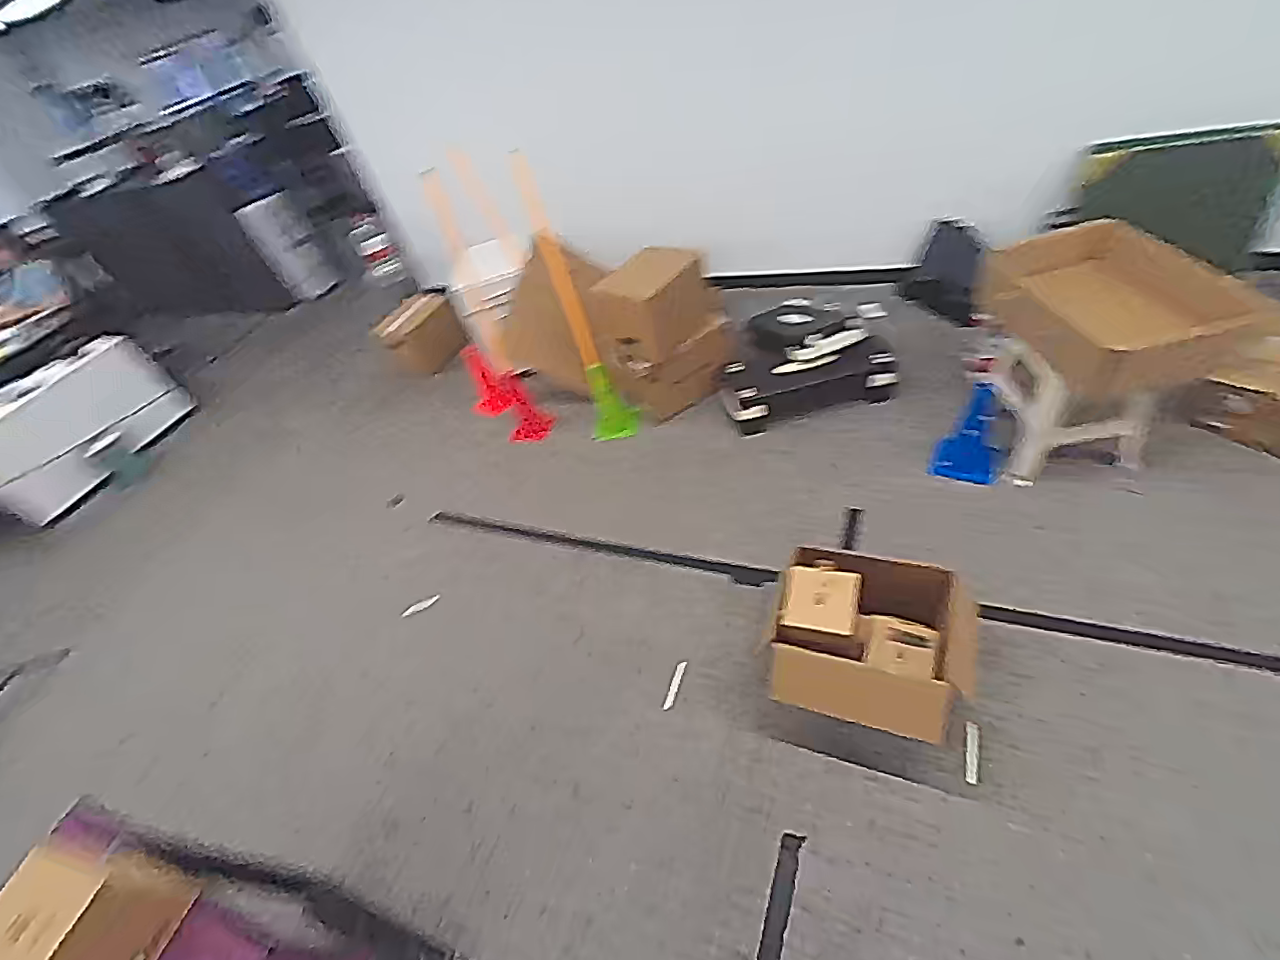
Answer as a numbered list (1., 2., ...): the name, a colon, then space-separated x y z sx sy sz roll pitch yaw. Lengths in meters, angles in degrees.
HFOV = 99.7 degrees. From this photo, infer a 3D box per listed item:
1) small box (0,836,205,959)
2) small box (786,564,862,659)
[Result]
1. small box: -0.829 0.668 0.814 0.179 0.176 0.168 4 51 22
2. small box: 0.491 0.351 1.437 0.168 0.176 0.179 7 52 23
